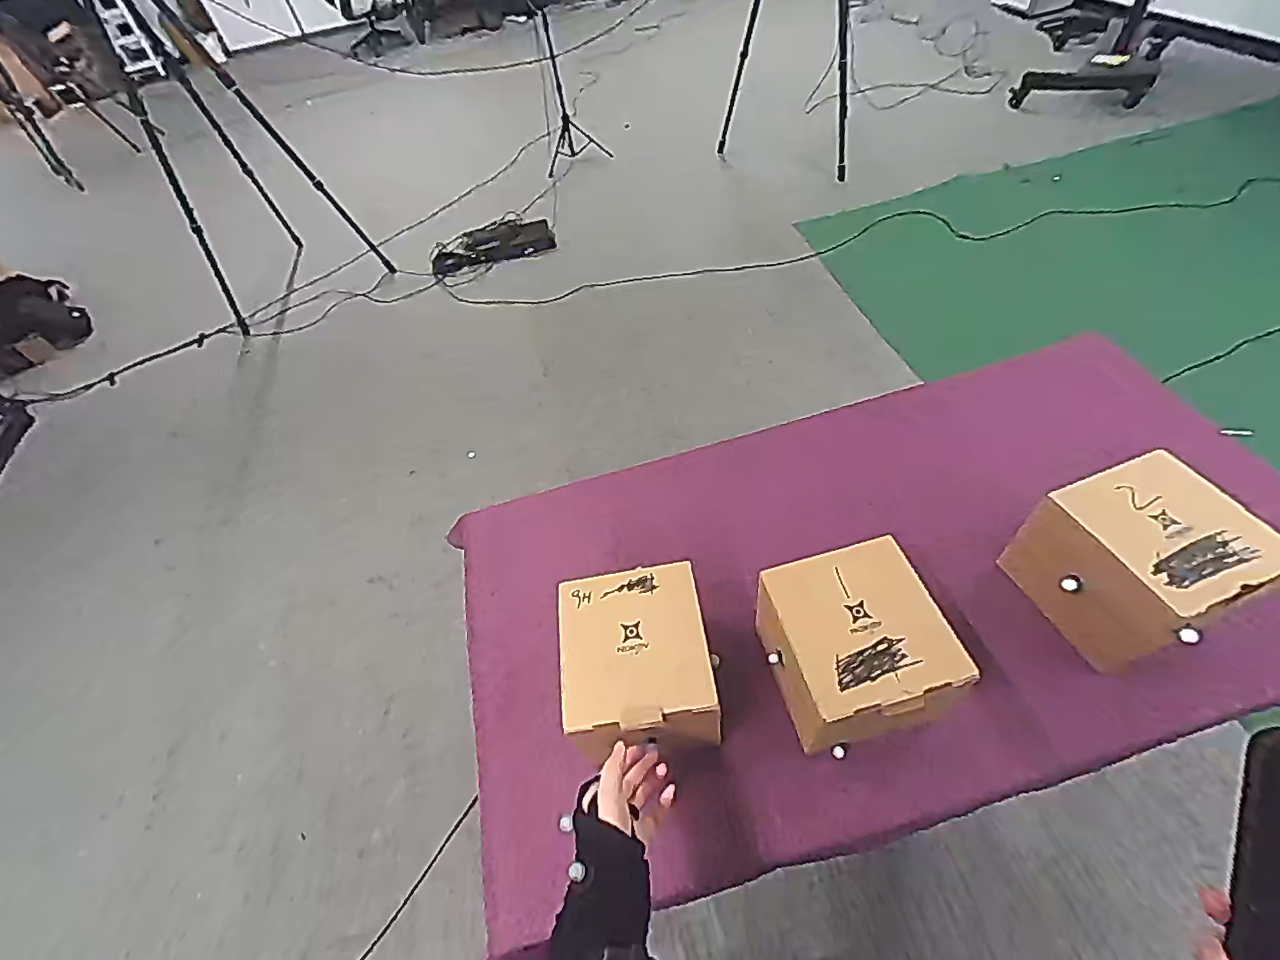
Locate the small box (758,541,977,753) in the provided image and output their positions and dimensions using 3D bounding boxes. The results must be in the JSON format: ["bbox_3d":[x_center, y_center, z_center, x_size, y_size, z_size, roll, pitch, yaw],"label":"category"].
[{"bbox_3d":[0.250,0.206,0.644,0.168,0.176,0.179,-16,50,-2],"label":"small box"}]

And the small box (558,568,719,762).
[{"bbox_3d":[0.001,0.235,0.667,0.168,0.176,0.179,-10,52,2],"label":"small box"}]
